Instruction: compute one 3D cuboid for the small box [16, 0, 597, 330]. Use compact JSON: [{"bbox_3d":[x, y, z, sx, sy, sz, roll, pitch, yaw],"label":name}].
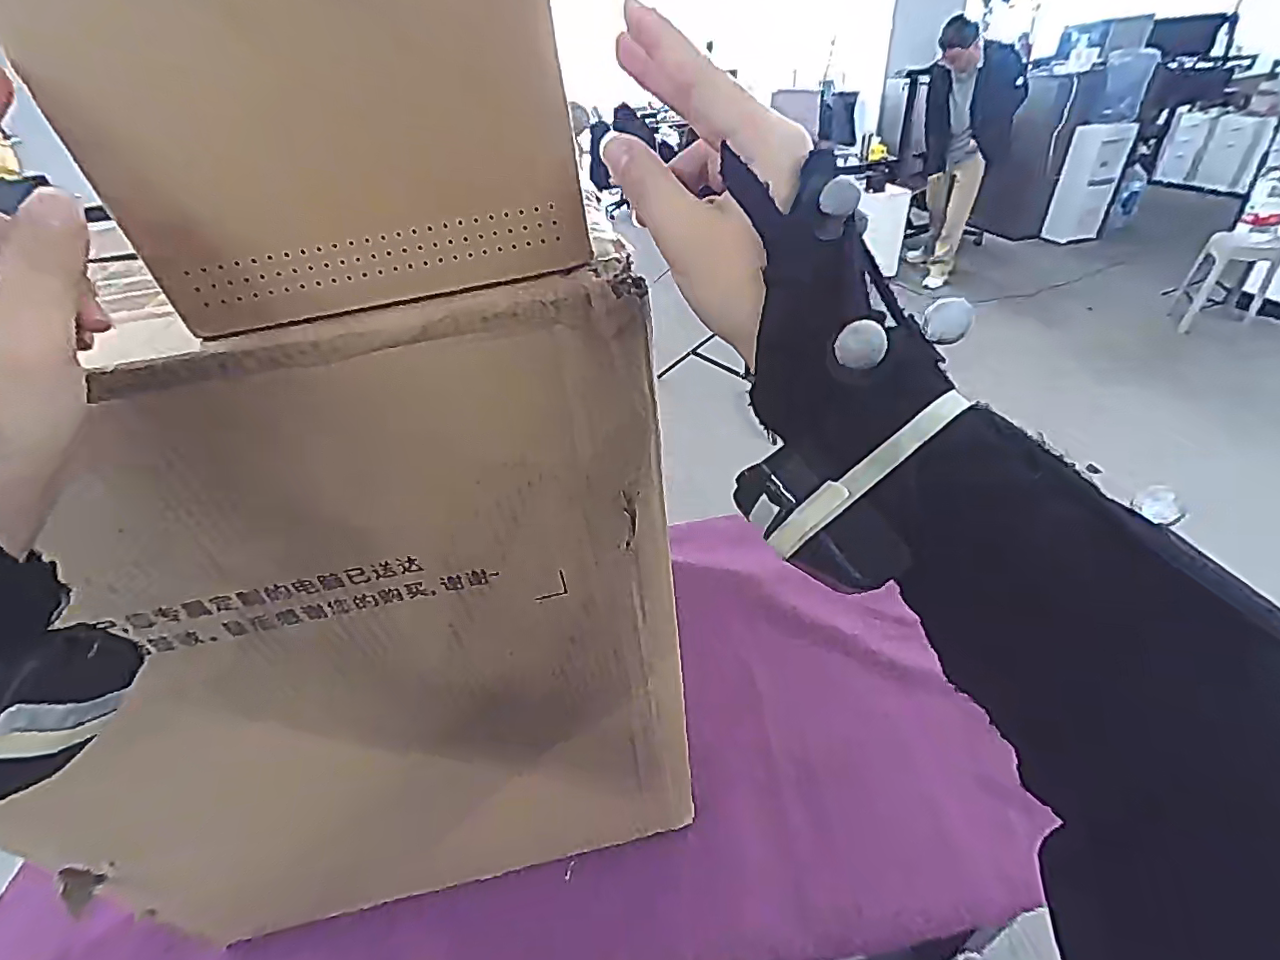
[{"bbox_3d":[-0.129,-0.185,0.252,0.179,0.176,0.168,-13,38,-6],"label":"small box"}]
